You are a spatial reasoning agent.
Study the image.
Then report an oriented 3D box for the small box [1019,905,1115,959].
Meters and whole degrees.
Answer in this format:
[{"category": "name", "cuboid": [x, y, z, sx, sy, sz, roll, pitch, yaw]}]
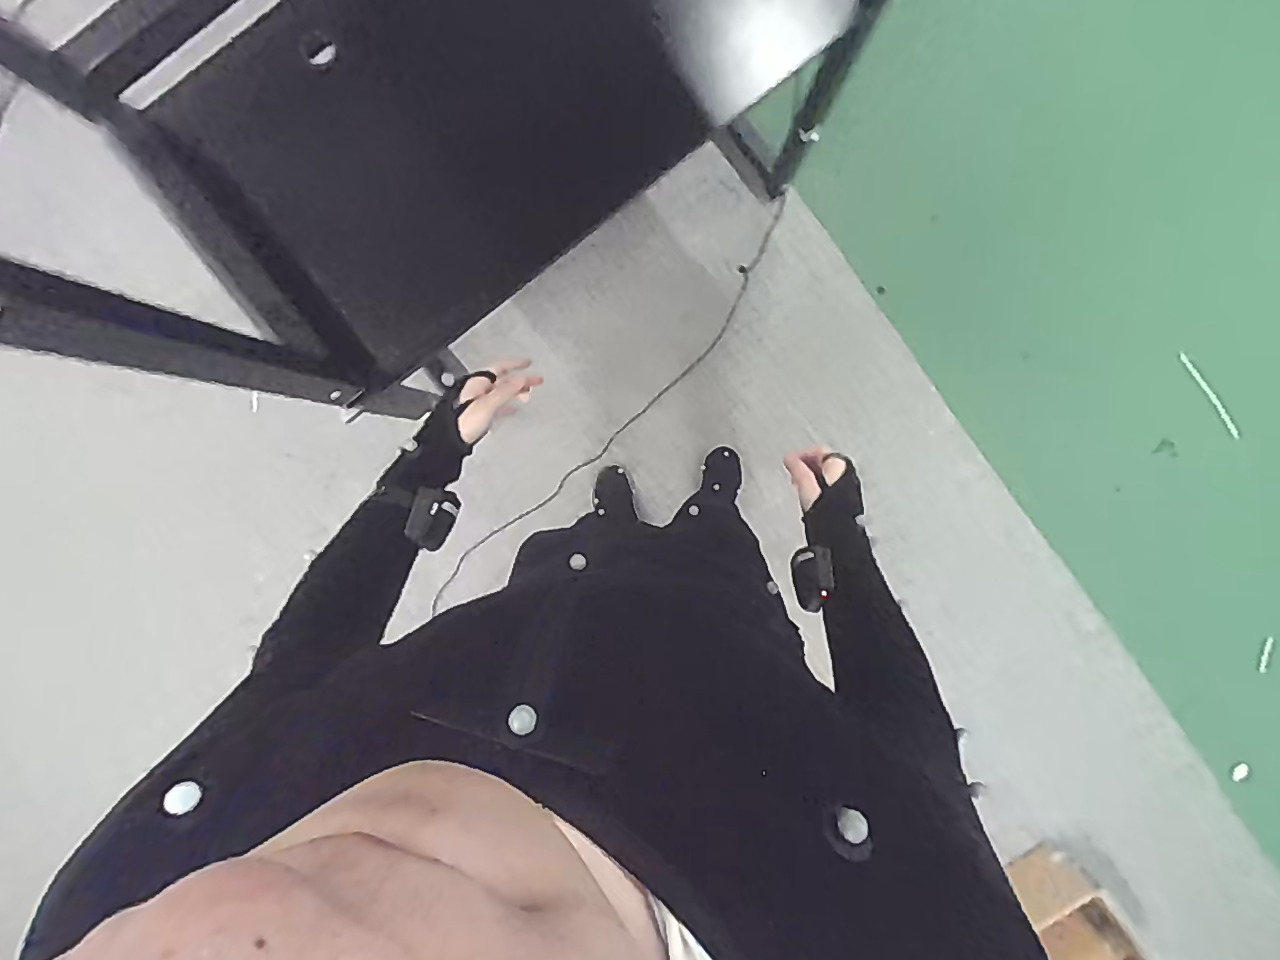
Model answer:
[{"category": "small box", "cuboid": [1.249, 1.380, 1.554, 0.168, 0.176, 0.179, -35, 92, 1]}]
